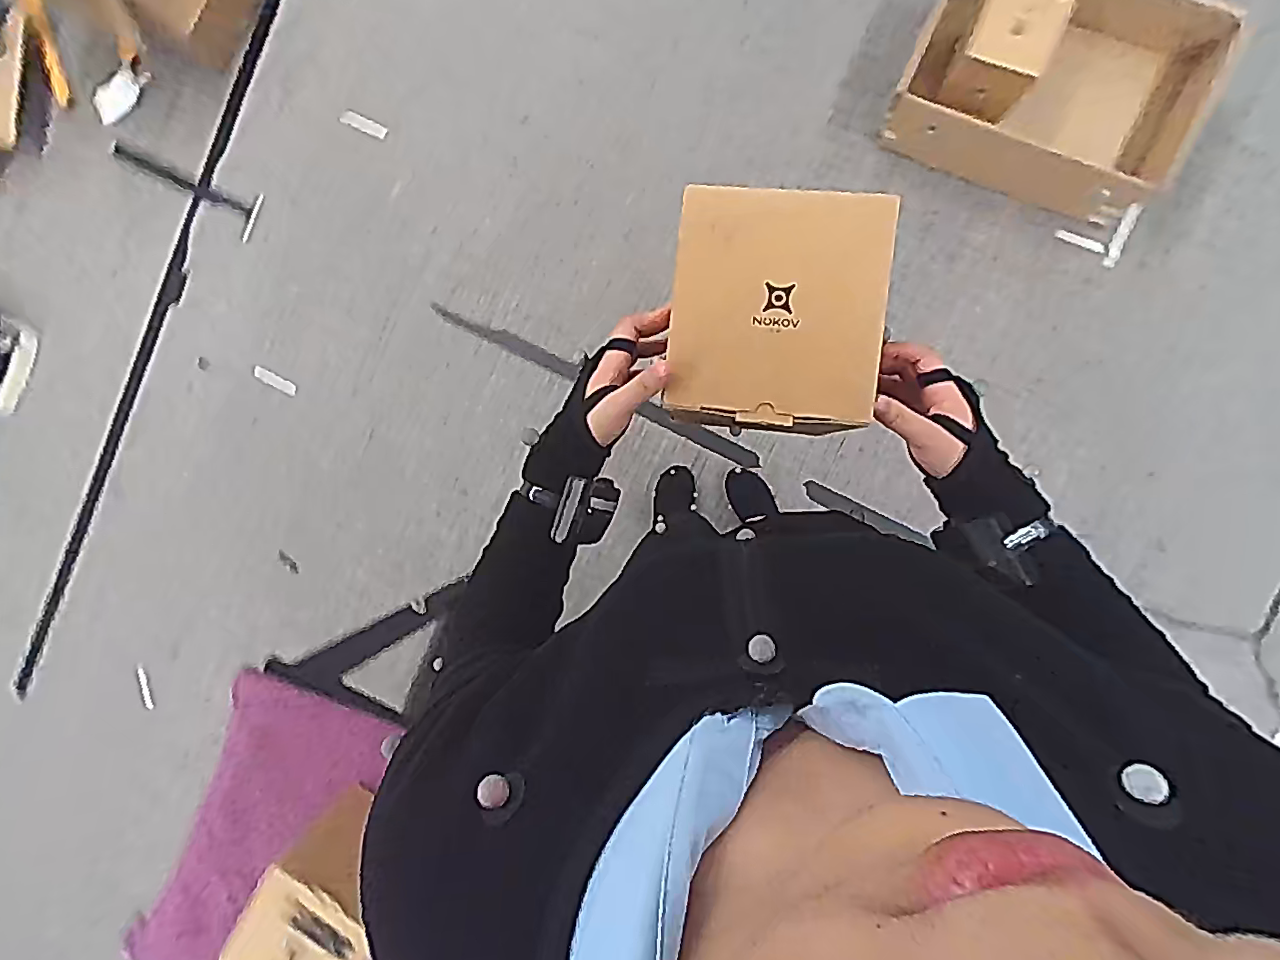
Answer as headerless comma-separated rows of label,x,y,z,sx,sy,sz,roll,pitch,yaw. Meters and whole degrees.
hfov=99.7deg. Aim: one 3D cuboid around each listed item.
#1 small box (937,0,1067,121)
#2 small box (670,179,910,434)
small box,0.826,-0.985,1.257,0.168,0.176,0.179,22,94,5
small box,0.120,-0.141,0.495,0.168,0.176,0.179,7,94,5
